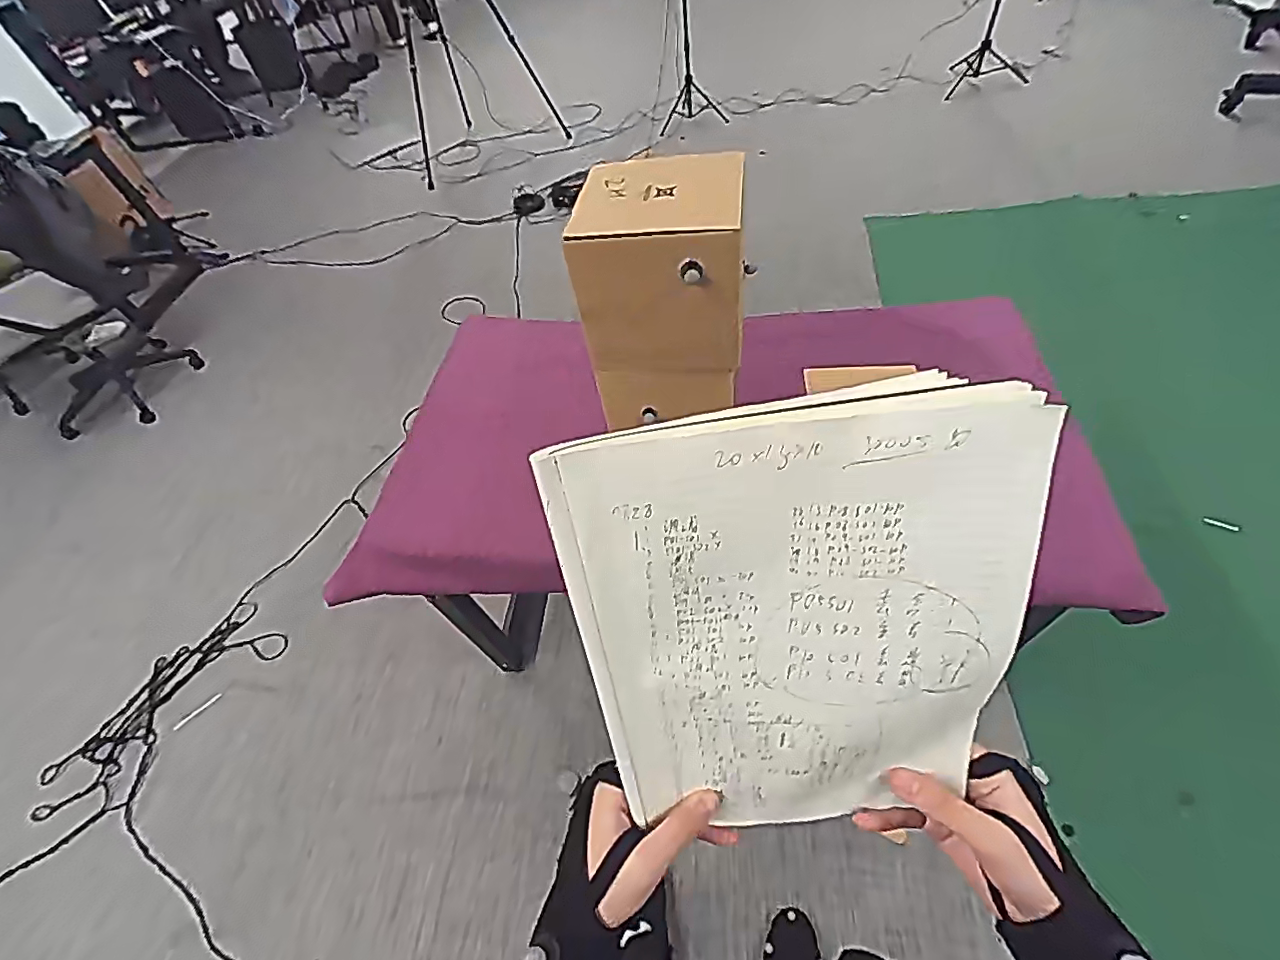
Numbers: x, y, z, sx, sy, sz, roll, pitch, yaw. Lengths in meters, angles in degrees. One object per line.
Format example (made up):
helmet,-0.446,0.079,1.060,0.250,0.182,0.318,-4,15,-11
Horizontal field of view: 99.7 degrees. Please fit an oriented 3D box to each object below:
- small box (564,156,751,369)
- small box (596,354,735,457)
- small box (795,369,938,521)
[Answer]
small box,0.033,-0.241,0.619,0.179,0.176,0.168,2,52,12
small box,0.047,-0.145,0.753,0.168,0.176,0.179,0,52,10
small box,0.336,-0.051,0.840,0.168,0.176,0.179,1,52,9
